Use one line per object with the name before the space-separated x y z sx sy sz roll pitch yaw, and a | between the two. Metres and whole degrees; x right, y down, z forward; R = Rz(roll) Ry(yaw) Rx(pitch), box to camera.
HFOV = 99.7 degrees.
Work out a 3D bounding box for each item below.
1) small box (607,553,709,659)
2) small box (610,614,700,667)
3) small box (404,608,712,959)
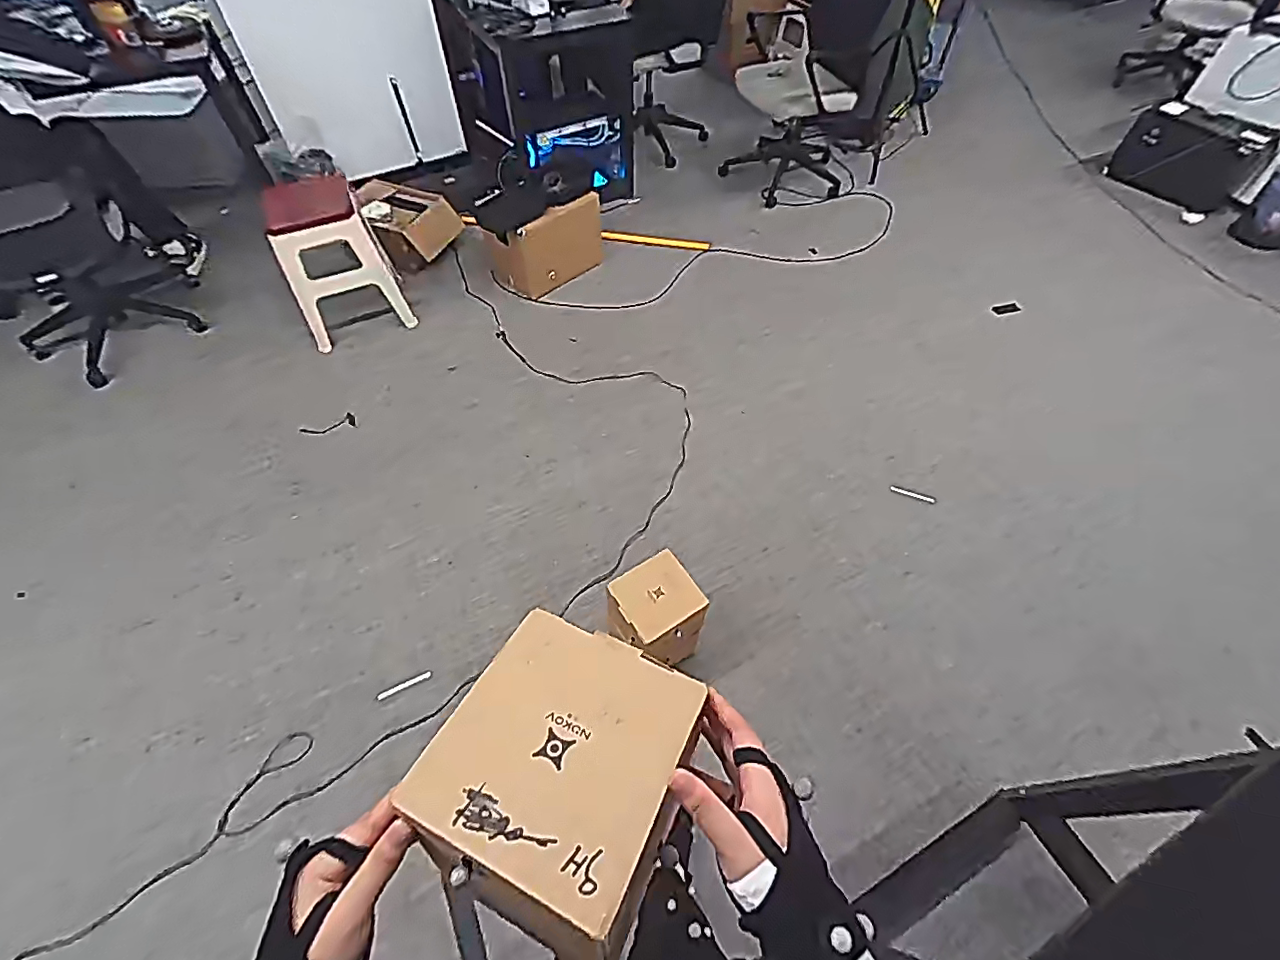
small box | 0.039 0.311 1.276 0.179 0.176 0.168 -28 61 -20
small box | 0.035 0.408 1.407 0.179 0.176 0.168 -27 59 -16
small box | -0.055 0.247 0.446 0.168 0.176 0.179 18 42 19
